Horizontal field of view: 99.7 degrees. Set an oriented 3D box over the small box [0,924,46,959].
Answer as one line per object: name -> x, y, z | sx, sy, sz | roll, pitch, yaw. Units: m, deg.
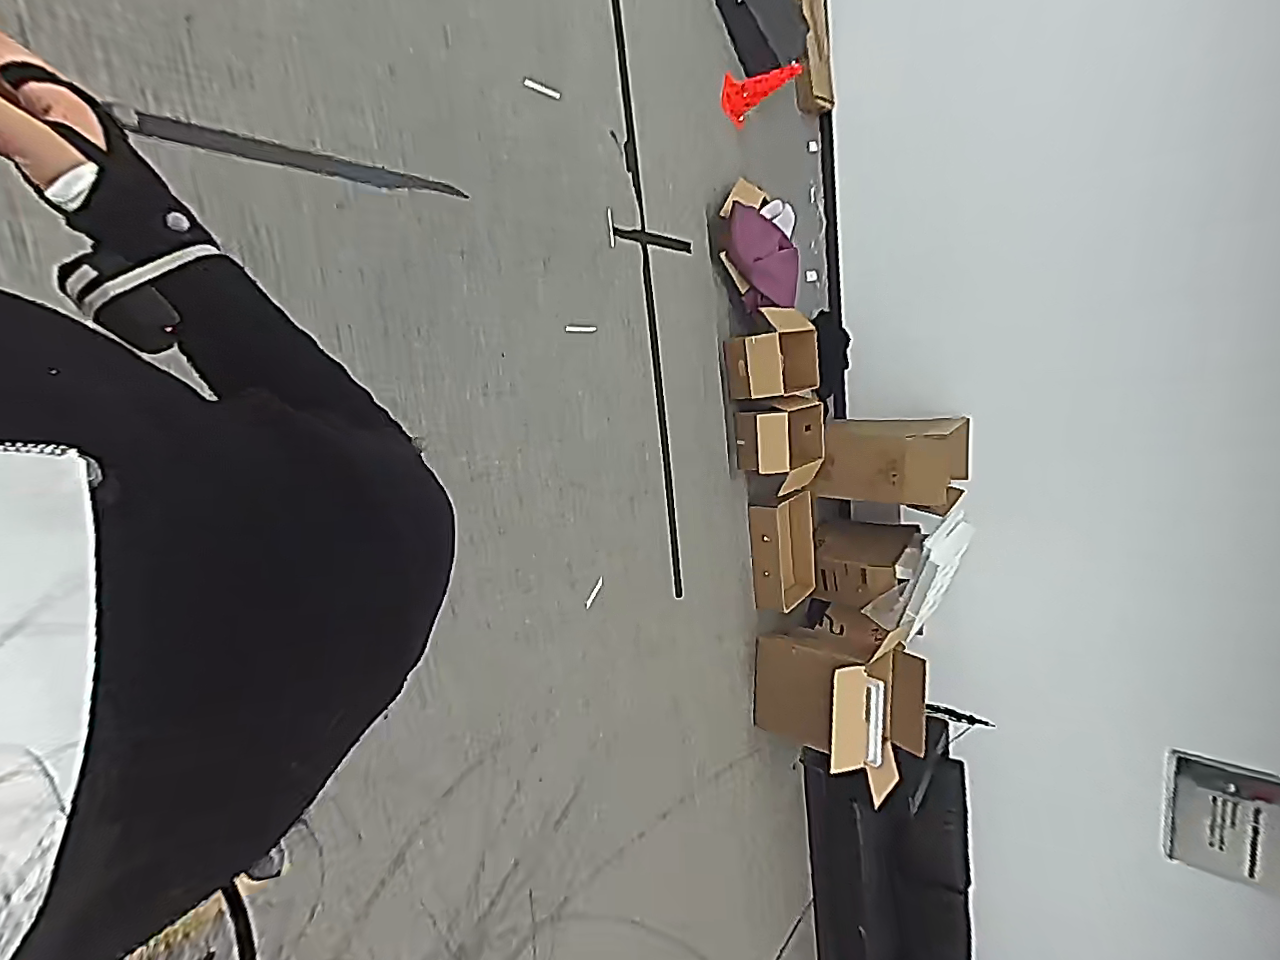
small box -> -1.067, 0.879, 0.862 | 0.168, 0.176, 0.179 | -18, 106, -47
